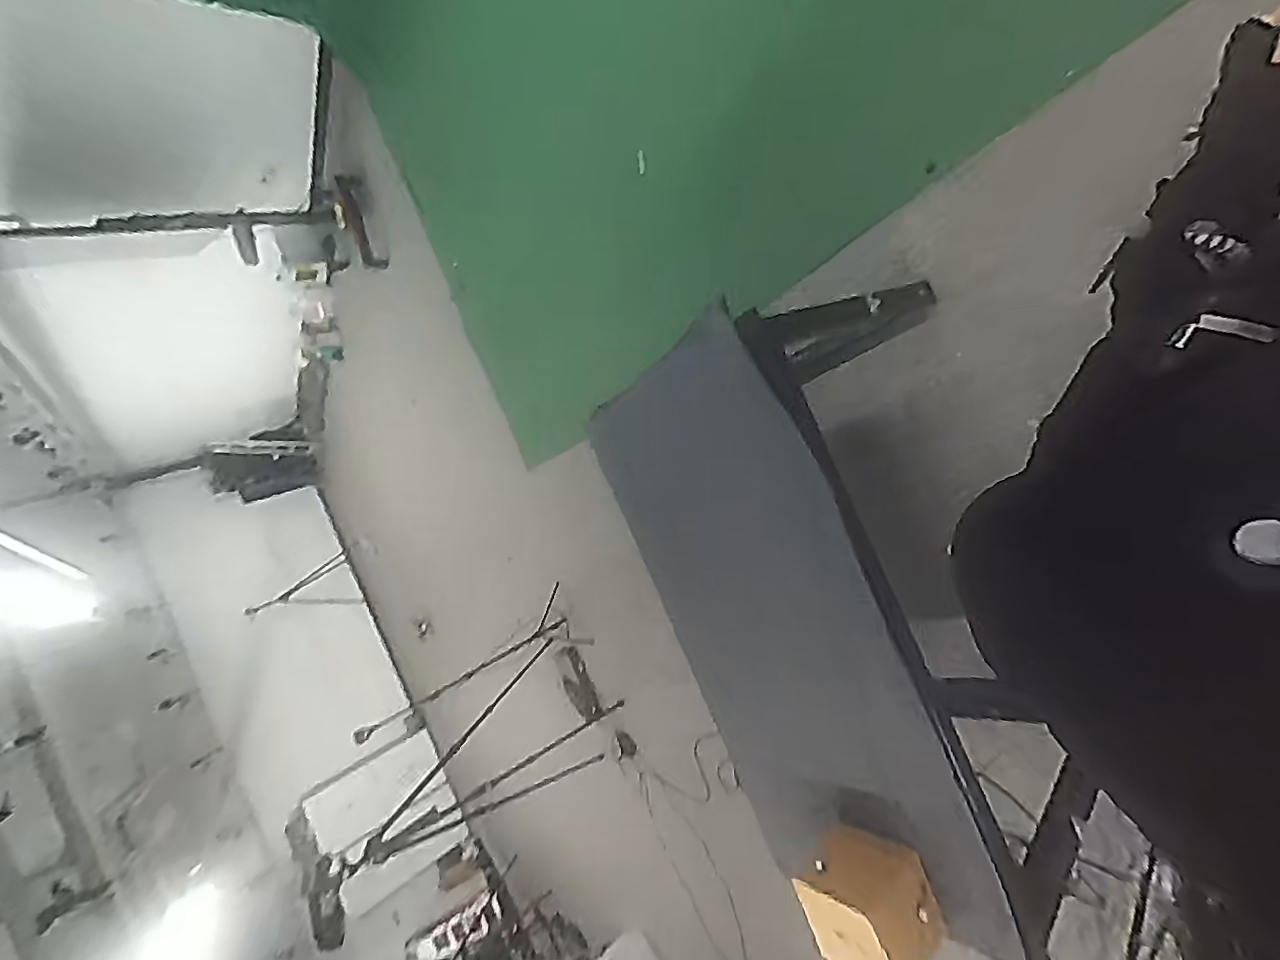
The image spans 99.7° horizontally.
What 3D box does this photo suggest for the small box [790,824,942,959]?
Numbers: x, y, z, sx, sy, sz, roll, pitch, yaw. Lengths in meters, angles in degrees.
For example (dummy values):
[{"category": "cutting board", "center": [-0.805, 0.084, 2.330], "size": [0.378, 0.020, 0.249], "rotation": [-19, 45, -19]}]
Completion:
[{"category": "small box", "center": [0.425, 0.792, 1.019], "size": [0.179, 0.176, 0.168], "rotation": [-22, 90, 54]}]
